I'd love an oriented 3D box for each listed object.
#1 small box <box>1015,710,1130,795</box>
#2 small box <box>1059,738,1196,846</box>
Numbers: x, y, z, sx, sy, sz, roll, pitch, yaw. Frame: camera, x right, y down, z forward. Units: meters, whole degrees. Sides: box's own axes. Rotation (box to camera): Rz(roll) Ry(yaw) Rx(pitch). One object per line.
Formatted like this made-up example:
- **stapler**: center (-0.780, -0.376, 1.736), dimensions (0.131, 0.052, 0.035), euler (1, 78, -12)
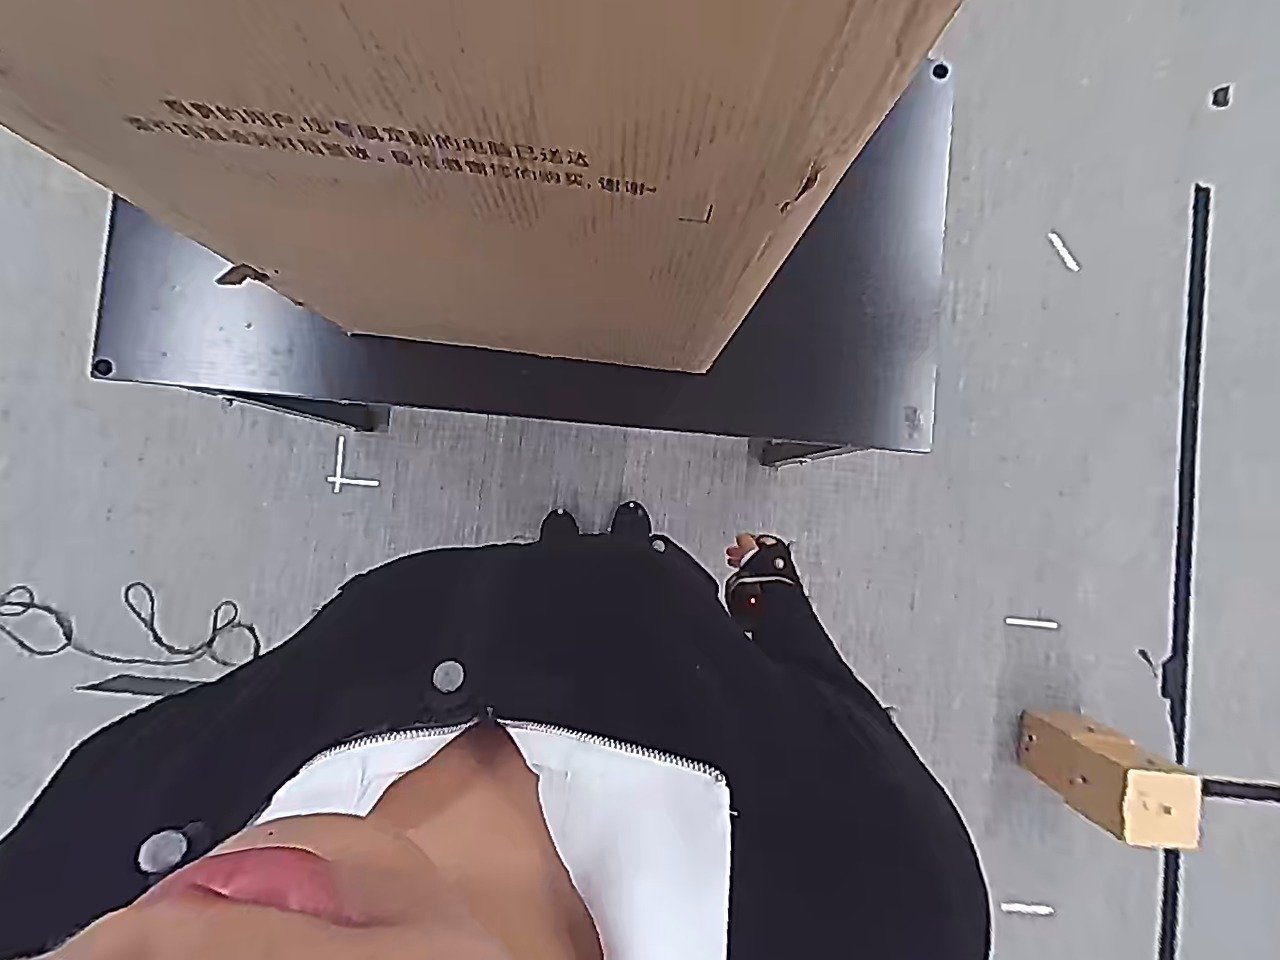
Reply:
- **small box**: center (1.166, 0.740, 1.465), dimensions (0.179, 0.176, 0.168), euler (6, 87, -1)
- **small box**: center (1.164, 0.741, 1.299), dimensions (0.179, 0.176, 0.168), euler (6, 87, -2)
